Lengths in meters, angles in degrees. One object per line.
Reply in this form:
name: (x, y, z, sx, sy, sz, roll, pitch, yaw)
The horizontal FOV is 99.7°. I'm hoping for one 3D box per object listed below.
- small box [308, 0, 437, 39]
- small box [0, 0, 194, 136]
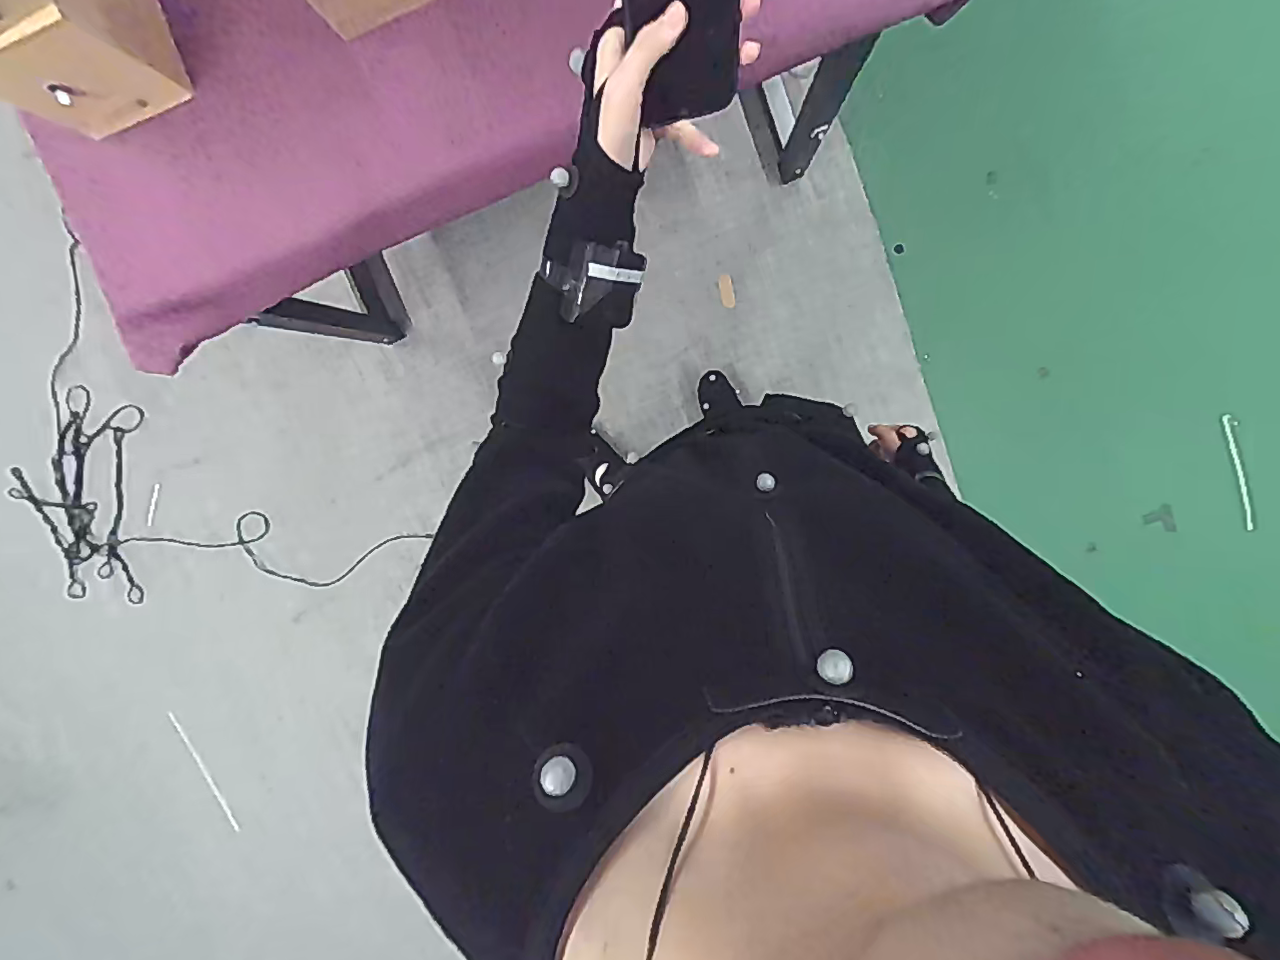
small box: (-0.332, -0.658, 0.606, 0.179, 0.176, 0.168, -18, 97, 8)
small box: (-0.706, -0.557, 0.657, 0.168, 0.176, 0.179, -18, 97, 8)
